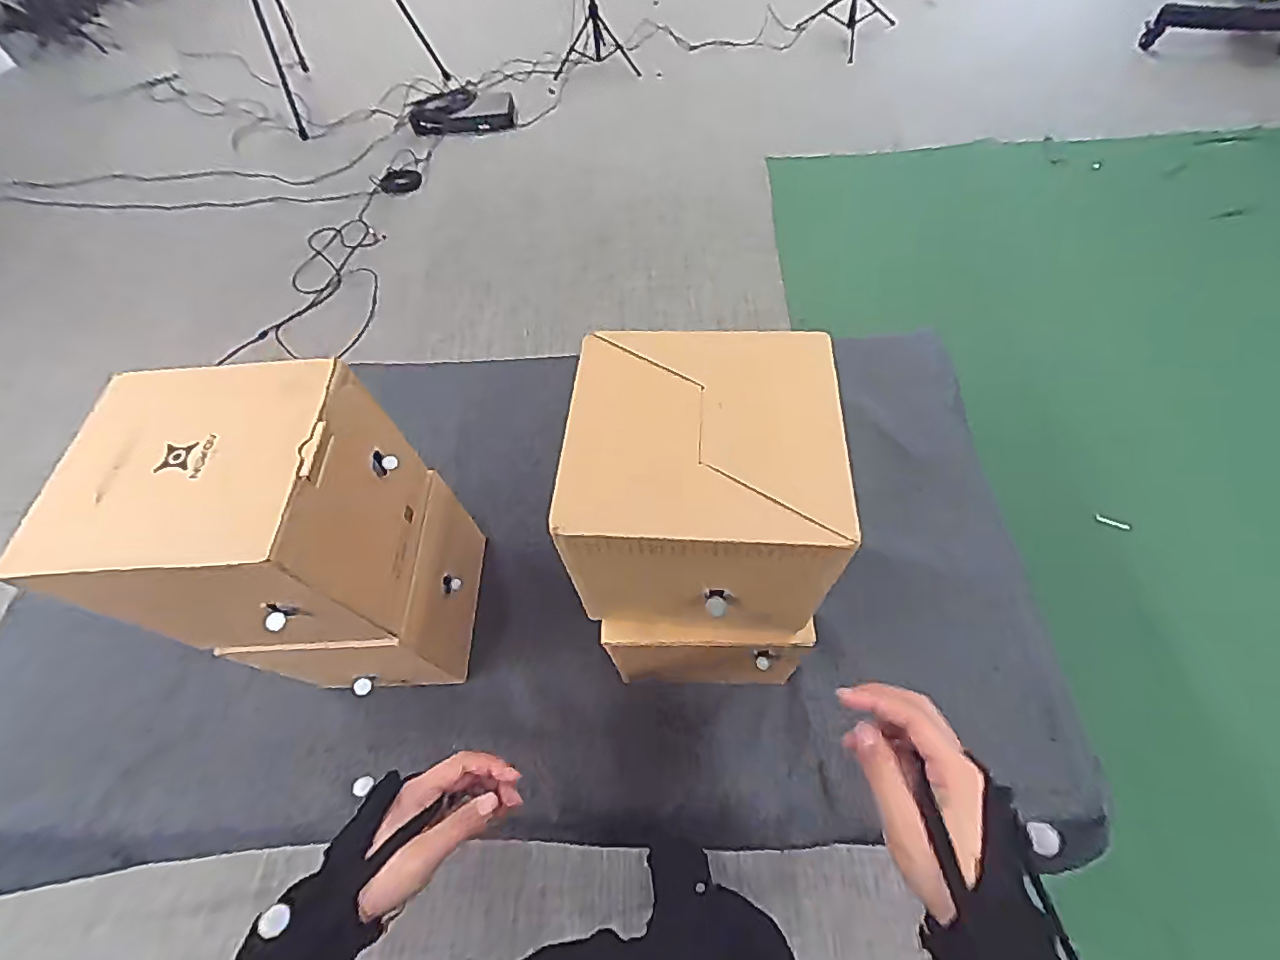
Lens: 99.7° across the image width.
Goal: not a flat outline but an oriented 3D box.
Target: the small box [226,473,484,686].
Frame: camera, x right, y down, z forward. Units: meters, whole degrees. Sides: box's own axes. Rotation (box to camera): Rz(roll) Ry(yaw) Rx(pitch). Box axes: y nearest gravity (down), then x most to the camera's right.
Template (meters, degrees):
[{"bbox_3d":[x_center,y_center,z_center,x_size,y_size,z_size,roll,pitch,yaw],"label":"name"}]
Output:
[{"bbox_3d":[-0.277,0.111,0.575,0.168,0.176,0.179,-3,60,3],"label":"small box"}]

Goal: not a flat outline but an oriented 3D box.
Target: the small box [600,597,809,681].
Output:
[{"bbox_3d":[0.060,0.105,0.554,0.179,0.176,0.168,-1,58,3],"label":"small box"}]

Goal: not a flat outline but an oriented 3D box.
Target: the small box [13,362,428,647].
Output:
[{"bbox_3d":[-0.295,0.028,0.436,0.179,0.176,0.168,-5,57,3],"label":"small box"}]

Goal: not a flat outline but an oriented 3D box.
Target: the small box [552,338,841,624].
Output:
[{"bbox_3d":[0.044,0.006,0.419,0.179,0.176,0.168,2,58,6],"label":"small box"}]
